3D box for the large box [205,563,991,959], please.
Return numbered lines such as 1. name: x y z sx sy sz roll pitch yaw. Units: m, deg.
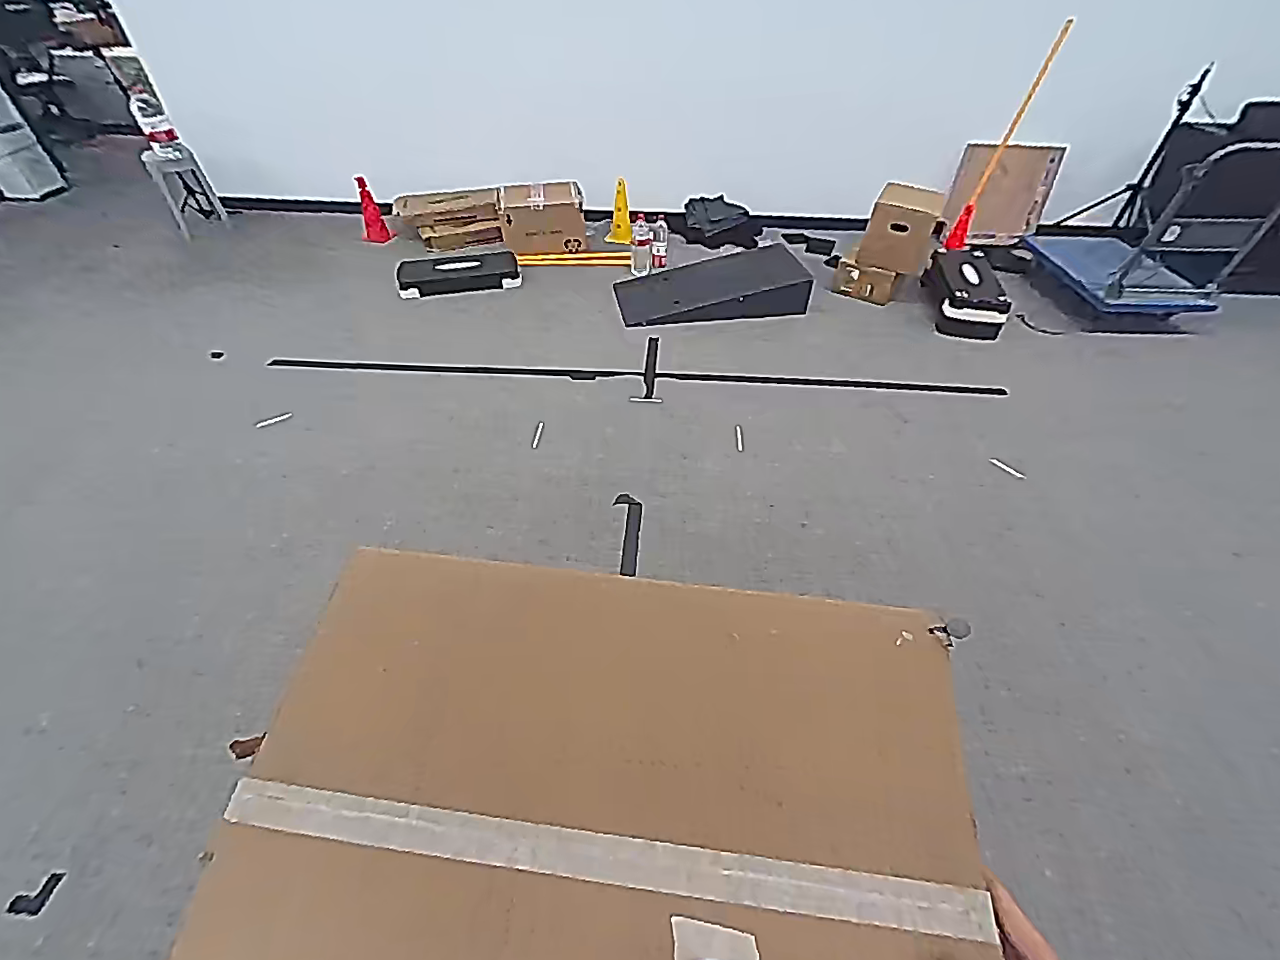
1. large box: -0.016 0.283 0.425 0.408 0.320 0.320 6 59 4
